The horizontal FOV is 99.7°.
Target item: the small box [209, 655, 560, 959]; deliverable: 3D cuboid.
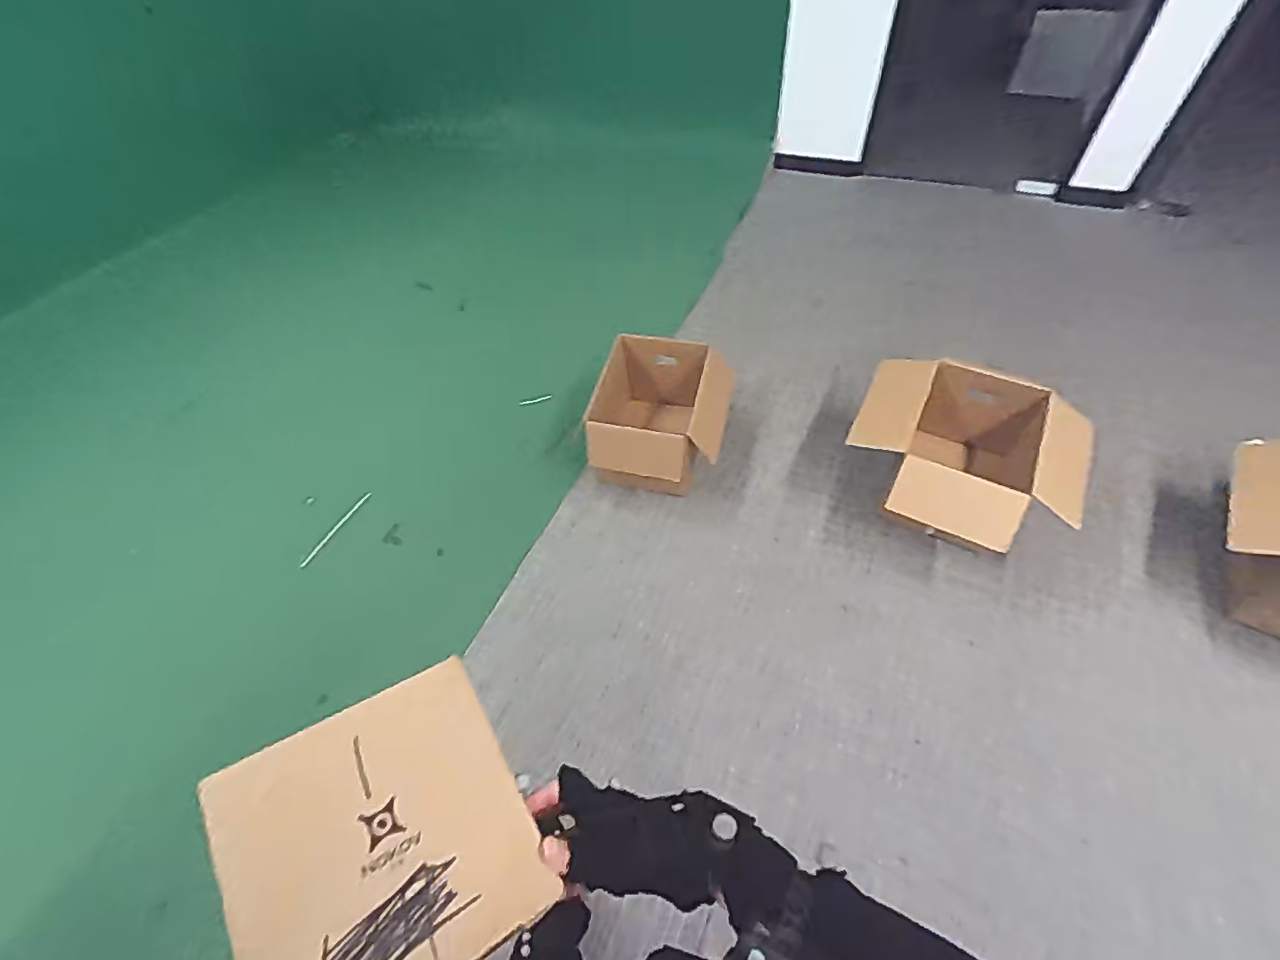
[{"bbox_3d":[-0.176,0.267,0.401,0.168,0.176,0.179,-20,62,-29],"label":"small box"}]
